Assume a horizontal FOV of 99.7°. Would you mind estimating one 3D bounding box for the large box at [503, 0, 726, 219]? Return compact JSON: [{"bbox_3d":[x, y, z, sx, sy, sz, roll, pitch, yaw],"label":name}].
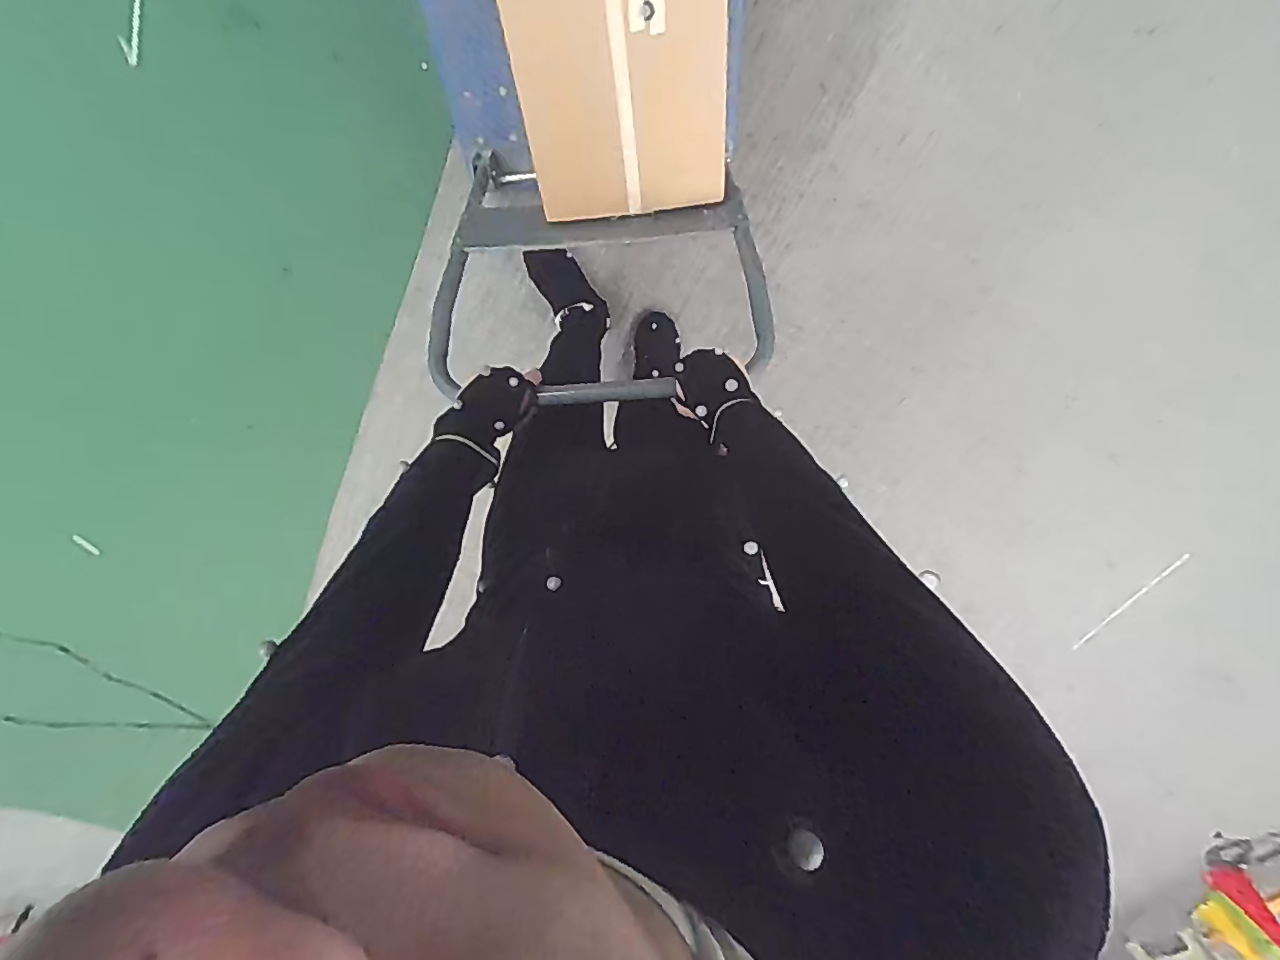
[{"bbox_3d":[-0.028,-0.718,0.909,0.320,0.320,0.408,-4,139,3],"label":"large box"}]
